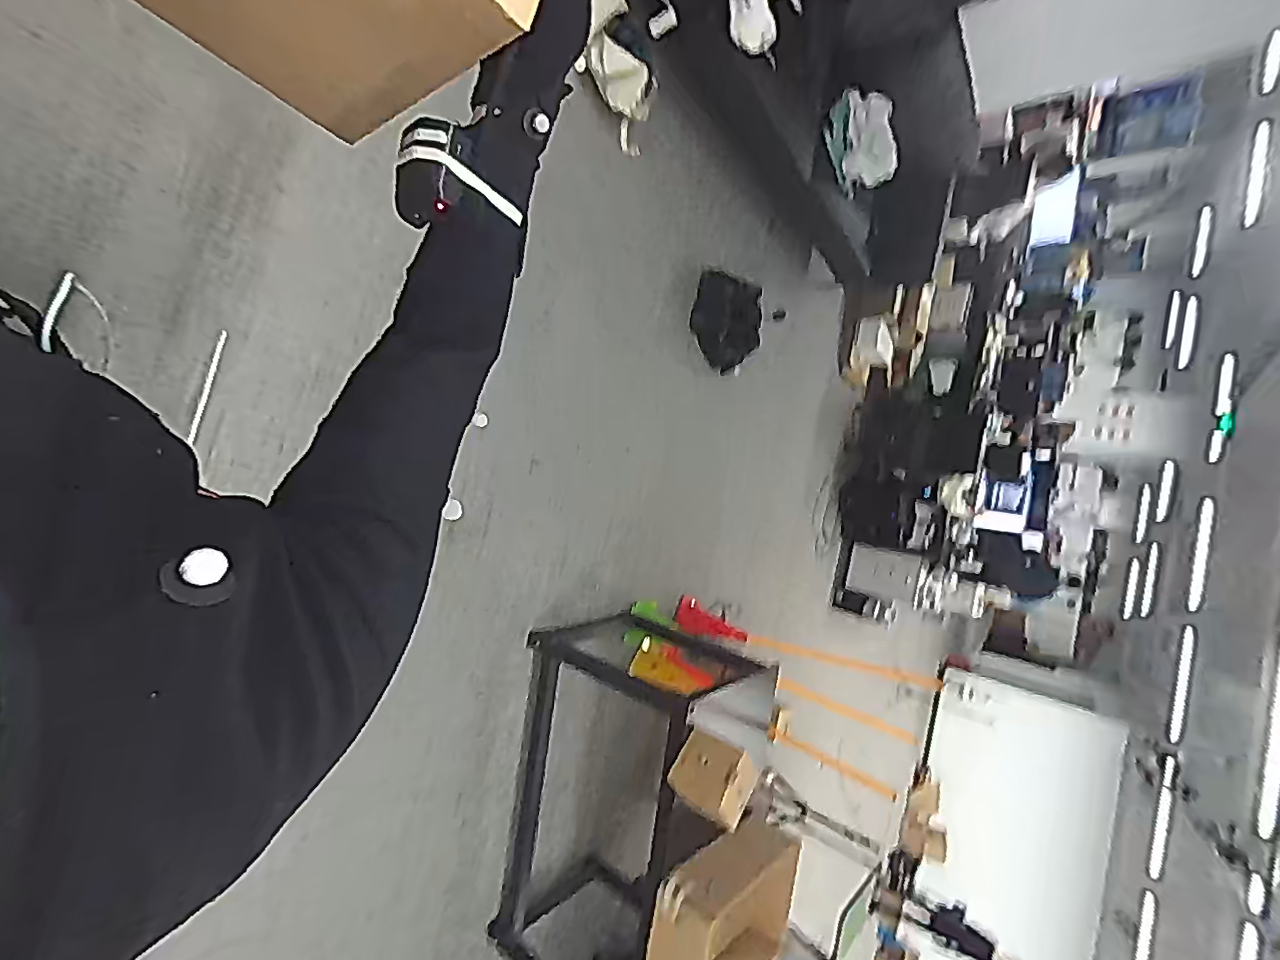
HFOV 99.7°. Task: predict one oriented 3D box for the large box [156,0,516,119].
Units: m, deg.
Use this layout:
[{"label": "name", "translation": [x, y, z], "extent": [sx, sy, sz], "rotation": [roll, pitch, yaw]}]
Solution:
[{"label": "large box", "translation": [-0.293, -0.539, 0.337], "extent": [0.408, 0.320, 0.320], "rotation": [17, 86, -50]}]
